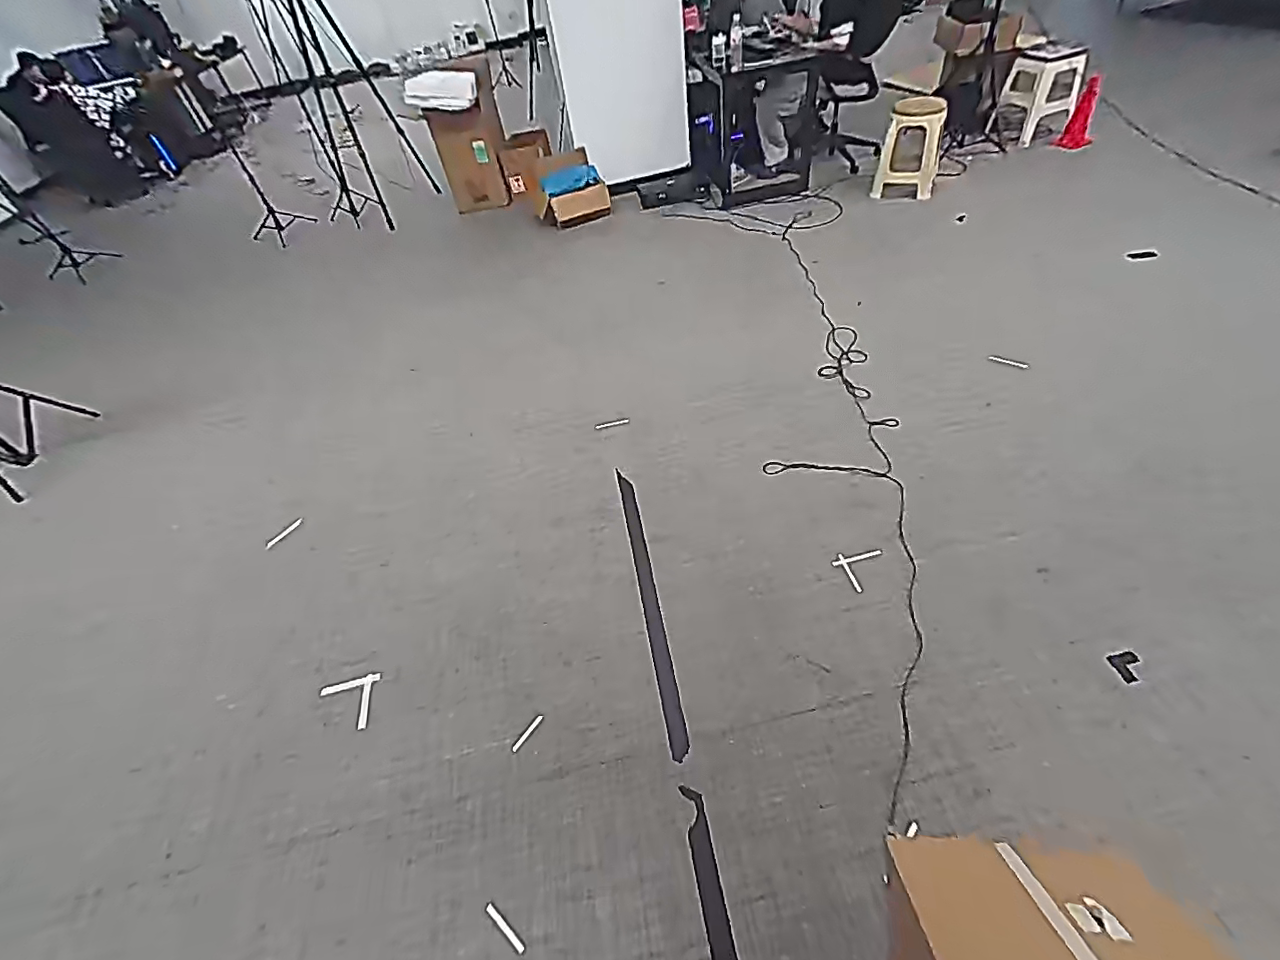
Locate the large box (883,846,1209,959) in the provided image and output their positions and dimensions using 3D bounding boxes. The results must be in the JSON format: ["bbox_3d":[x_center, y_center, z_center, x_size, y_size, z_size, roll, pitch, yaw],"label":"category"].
[{"bbox_3d":[0.484,0.688,0.584,0.320,0.408,0.320,0,88,10],"label":"large box"}]
